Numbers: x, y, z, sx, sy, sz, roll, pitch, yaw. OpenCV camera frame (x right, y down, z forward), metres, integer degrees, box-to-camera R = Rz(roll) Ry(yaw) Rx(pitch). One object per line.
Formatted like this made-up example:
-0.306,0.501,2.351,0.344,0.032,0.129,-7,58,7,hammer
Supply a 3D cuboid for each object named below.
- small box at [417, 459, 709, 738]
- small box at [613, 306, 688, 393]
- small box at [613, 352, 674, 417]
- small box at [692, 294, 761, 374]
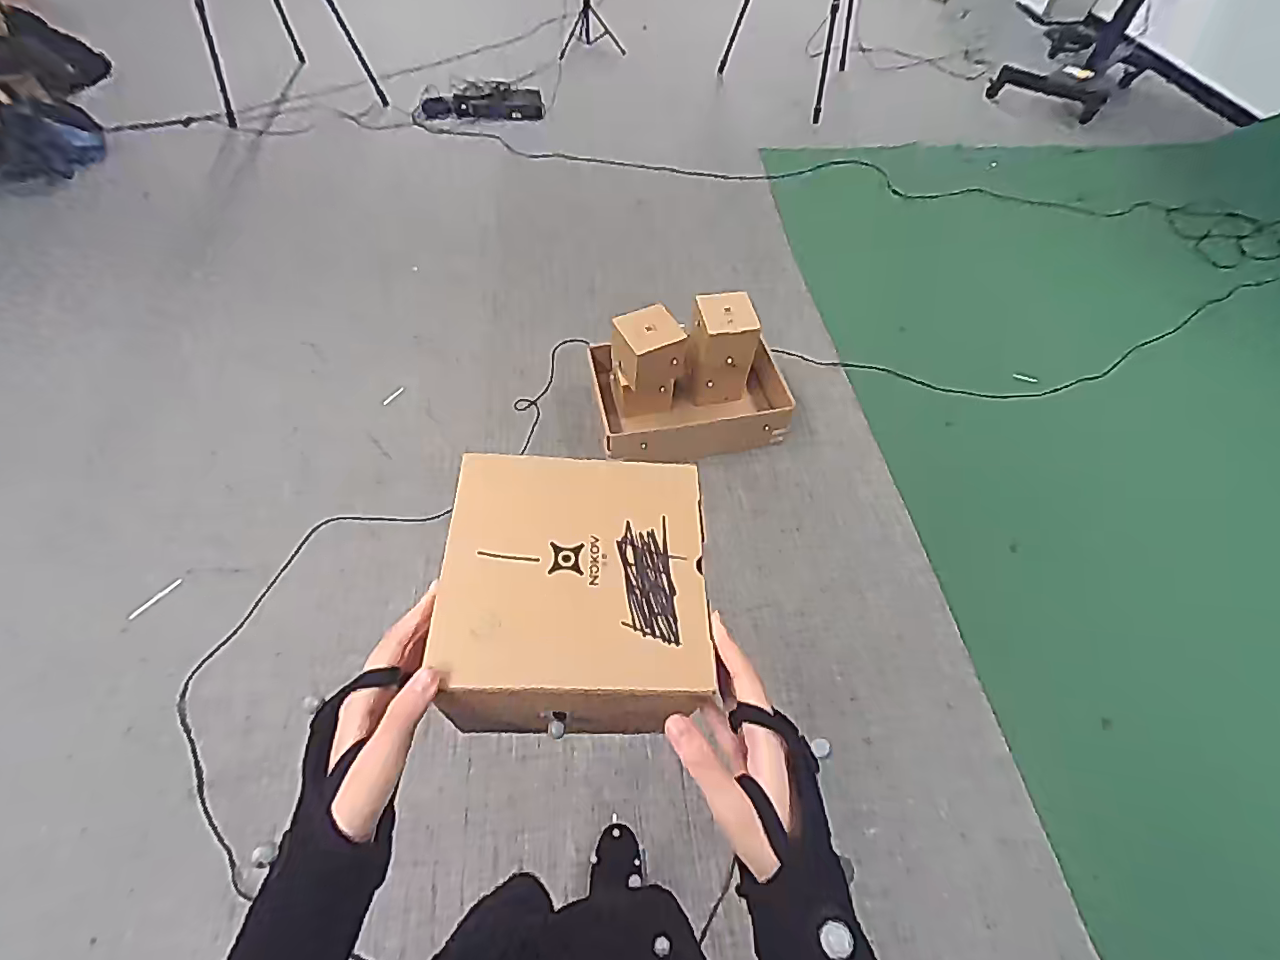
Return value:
-0.054,0.102,0.430,0.179,0.176,0.168,3,56,-6,small box
0.026,-0.400,1.668,0.179,0.176,0.168,-23,62,-17,small box
0.008,-0.326,1.813,0.179,0.176,0.168,-8,59,-9,small box
0.266,-0.461,1.712,0.168,0.176,0.179,-8,59,-6,small box
